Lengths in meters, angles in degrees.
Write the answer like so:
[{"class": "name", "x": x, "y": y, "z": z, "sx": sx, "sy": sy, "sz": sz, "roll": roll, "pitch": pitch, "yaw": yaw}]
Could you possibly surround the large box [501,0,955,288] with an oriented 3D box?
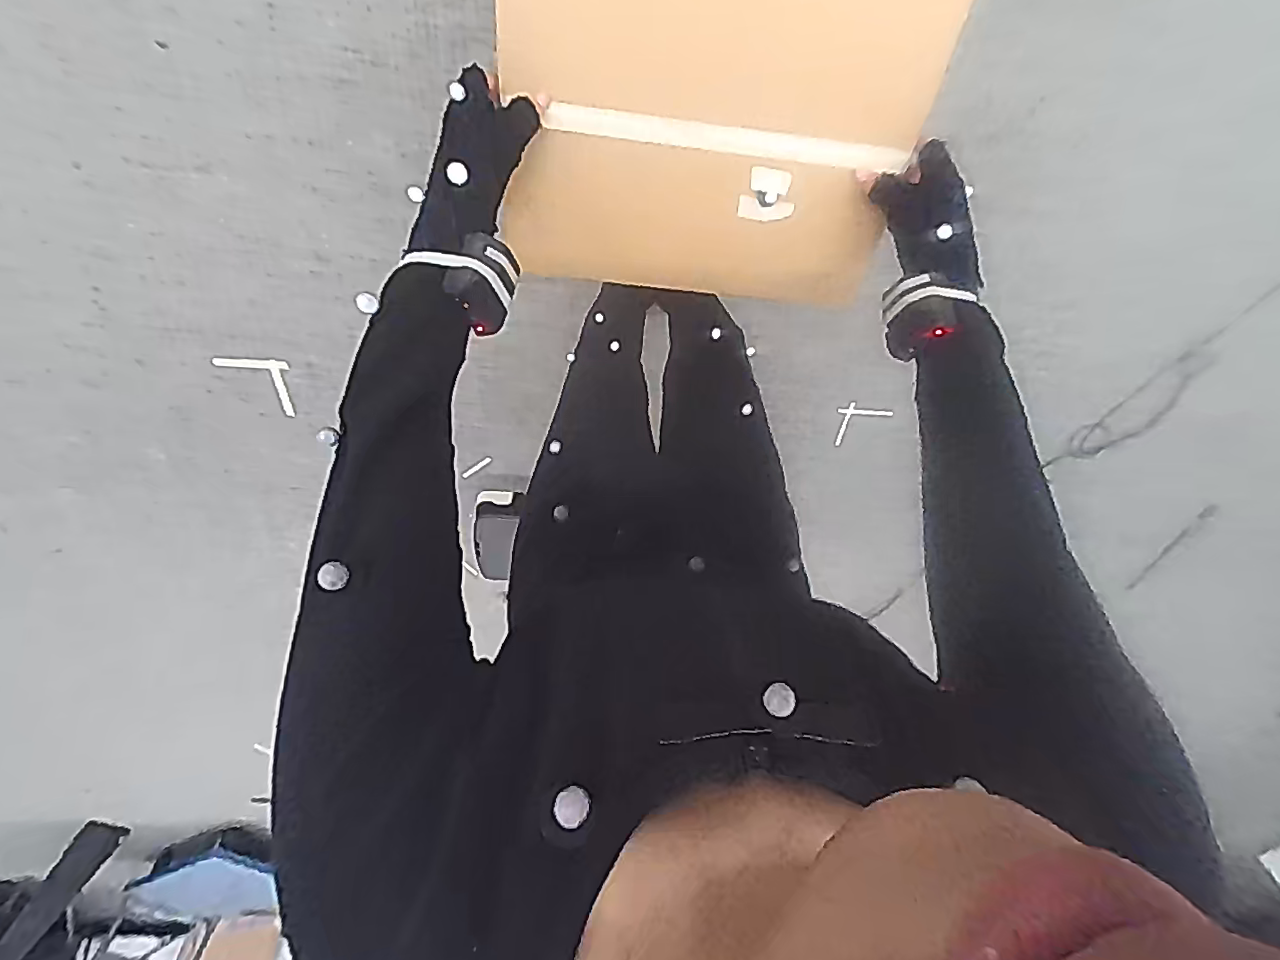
[{"class": "large box", "x": 0.062, "y": -0.450, "z": 0.640, "sx": 0.408, "sy": 0.320, "sz": 0.320, "roll": 3, "pitch": 132, "yaw": -7}]
